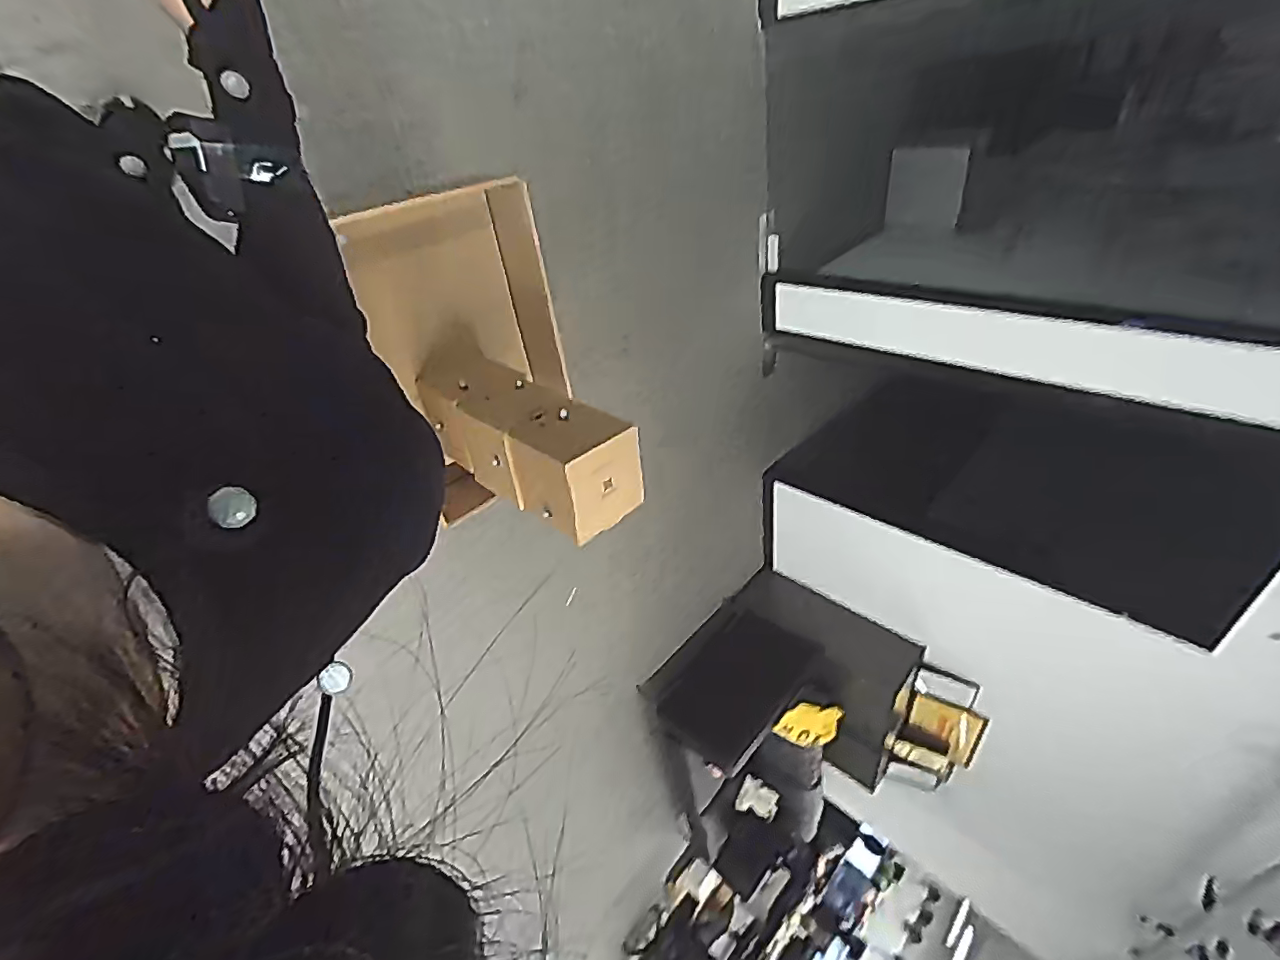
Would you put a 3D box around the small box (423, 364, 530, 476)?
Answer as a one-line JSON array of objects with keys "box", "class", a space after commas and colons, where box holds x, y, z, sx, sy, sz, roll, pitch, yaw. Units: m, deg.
[{"box": [-0.345, -0.135, 1.164, 0.179, 0.176, 0.168, -31, 131, -35], "class": "small box"}]

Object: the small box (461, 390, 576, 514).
[{"box": [-0.230, -0.066, 1.069, 0.168, 0.176, 0.179, -31, 132, -34], "class": "small box"}]

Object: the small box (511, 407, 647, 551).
[{"box": [-0.108, -0.009, 0.976, 0.168, 0.176, 0.179, -32, 132, -34], "class": "small box"}]
